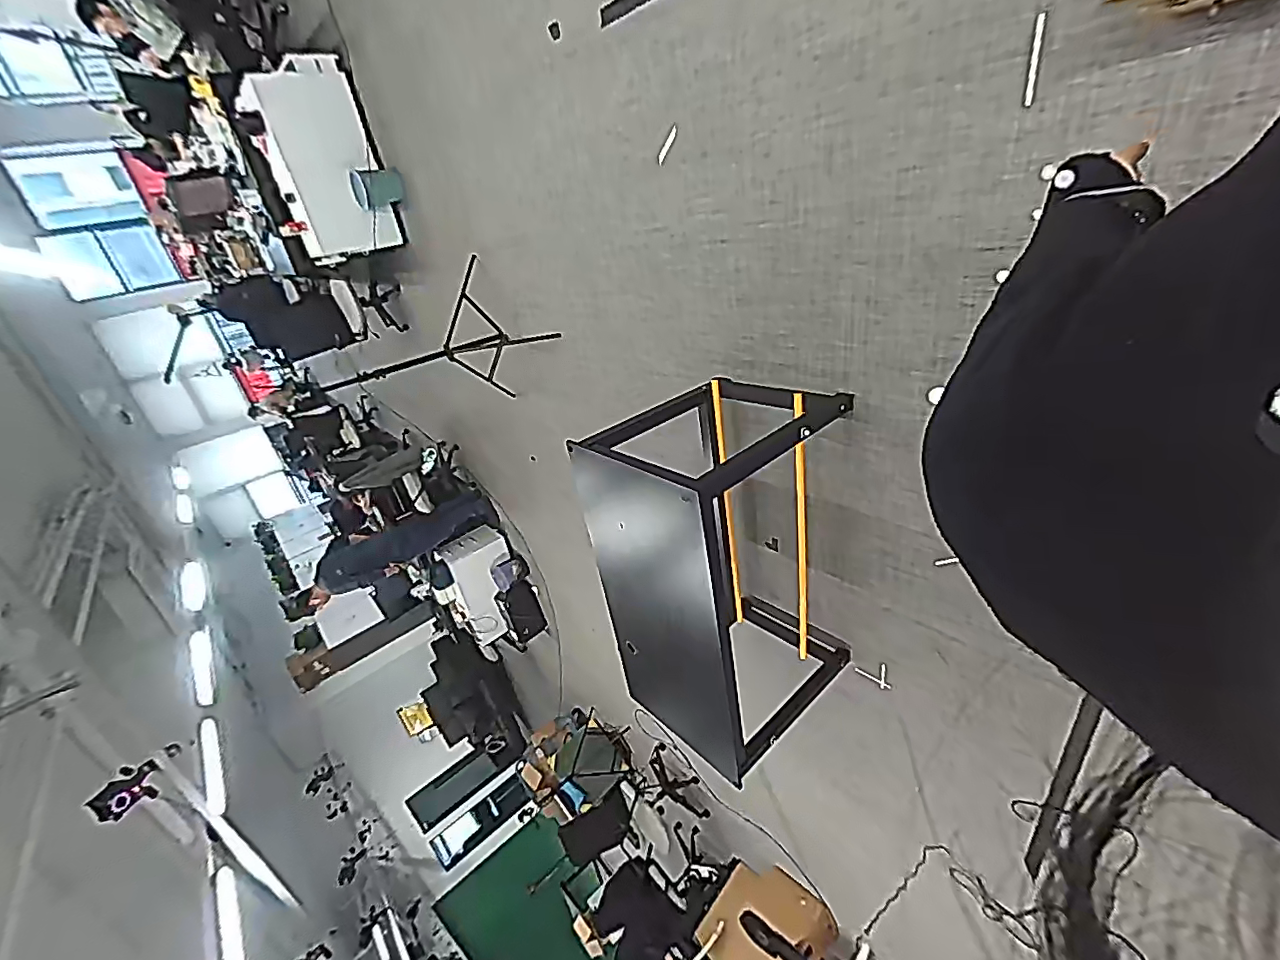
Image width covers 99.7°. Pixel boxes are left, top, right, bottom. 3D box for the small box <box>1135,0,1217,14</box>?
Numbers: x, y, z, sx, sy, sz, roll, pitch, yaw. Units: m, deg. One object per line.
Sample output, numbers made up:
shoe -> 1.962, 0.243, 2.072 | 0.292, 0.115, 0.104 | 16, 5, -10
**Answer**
small box -> 0.885, -0.822, 0.797 | 0.168, 0.176, 0.179 | 26, 135, 45
